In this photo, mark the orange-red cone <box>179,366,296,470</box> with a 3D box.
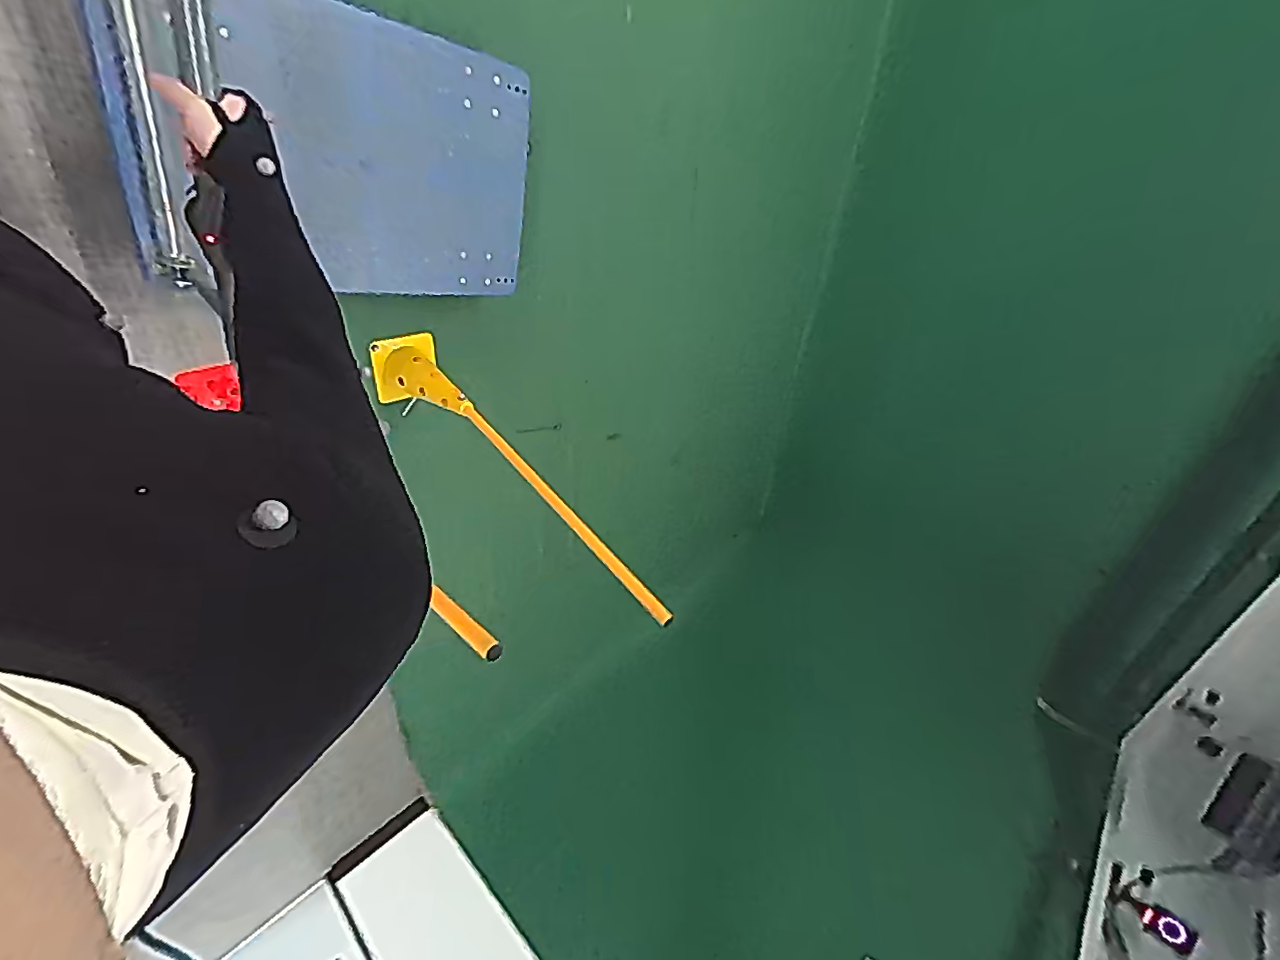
[{"bbox_3d":[-0.910,-0.114,1.294,0.199,0.360,0.198,-28,136,-41],"label":"orange-red cone"}]
